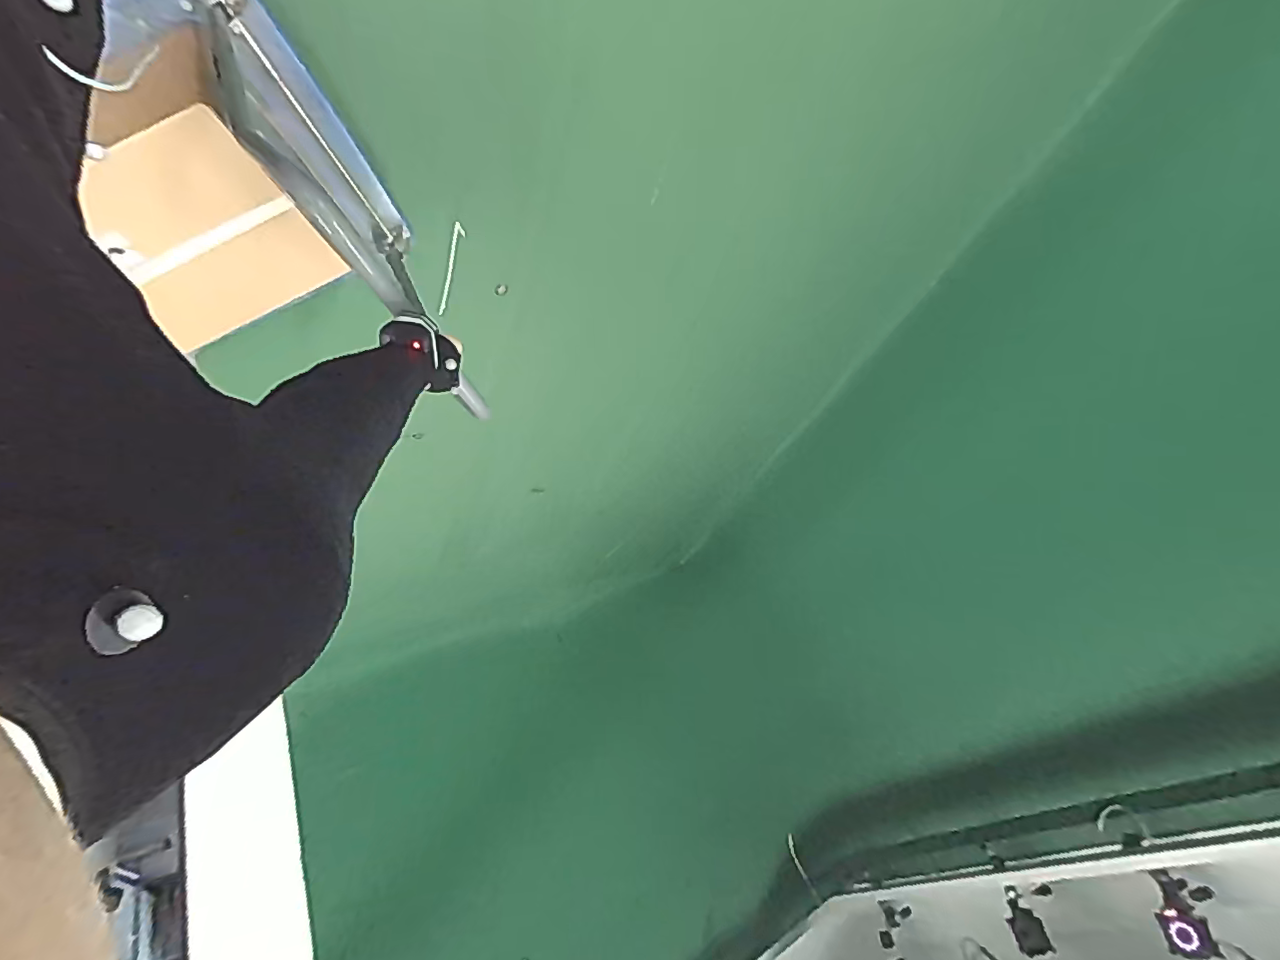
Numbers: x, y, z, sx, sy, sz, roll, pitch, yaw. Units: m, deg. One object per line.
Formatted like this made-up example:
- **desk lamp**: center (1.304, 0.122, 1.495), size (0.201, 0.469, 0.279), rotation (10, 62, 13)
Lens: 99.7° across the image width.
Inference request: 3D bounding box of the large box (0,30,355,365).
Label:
- **large box**: center (-0.808, -0.489, 0.968), size (0.408, 0.320, 0.320), rotation (-28, 151, -1)
